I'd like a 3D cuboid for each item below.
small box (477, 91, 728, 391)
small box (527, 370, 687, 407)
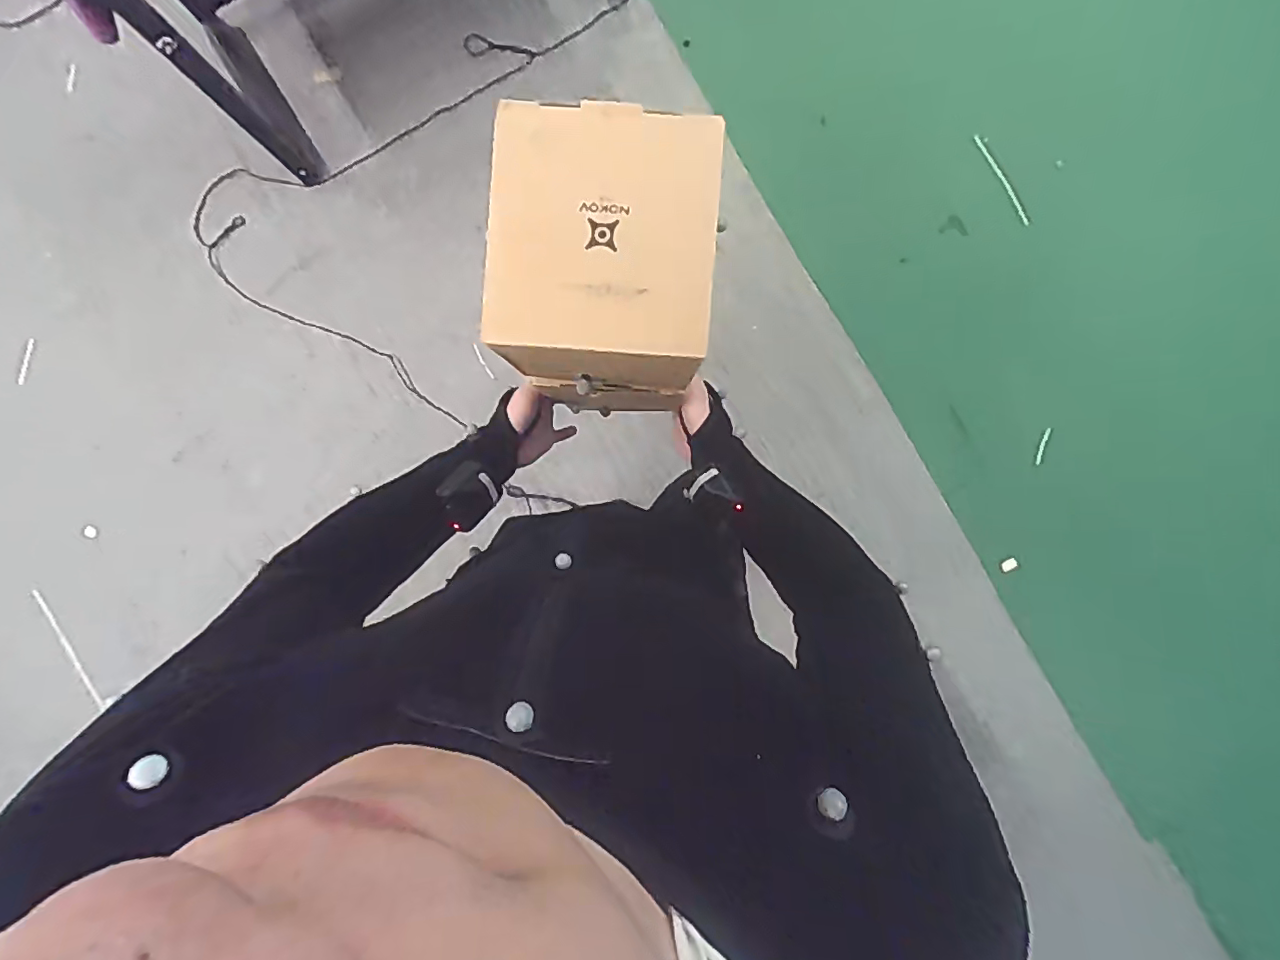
[{"bbox_3d":[-0.028,-0.179,0.457,0.168,0.176,0.179,4,92,0],"label":"small box"},{"bbox_3d":[-0.028,-0.180,0.620,0.168,0.176,0.179,3,91,-1],"label":"small box"}]
